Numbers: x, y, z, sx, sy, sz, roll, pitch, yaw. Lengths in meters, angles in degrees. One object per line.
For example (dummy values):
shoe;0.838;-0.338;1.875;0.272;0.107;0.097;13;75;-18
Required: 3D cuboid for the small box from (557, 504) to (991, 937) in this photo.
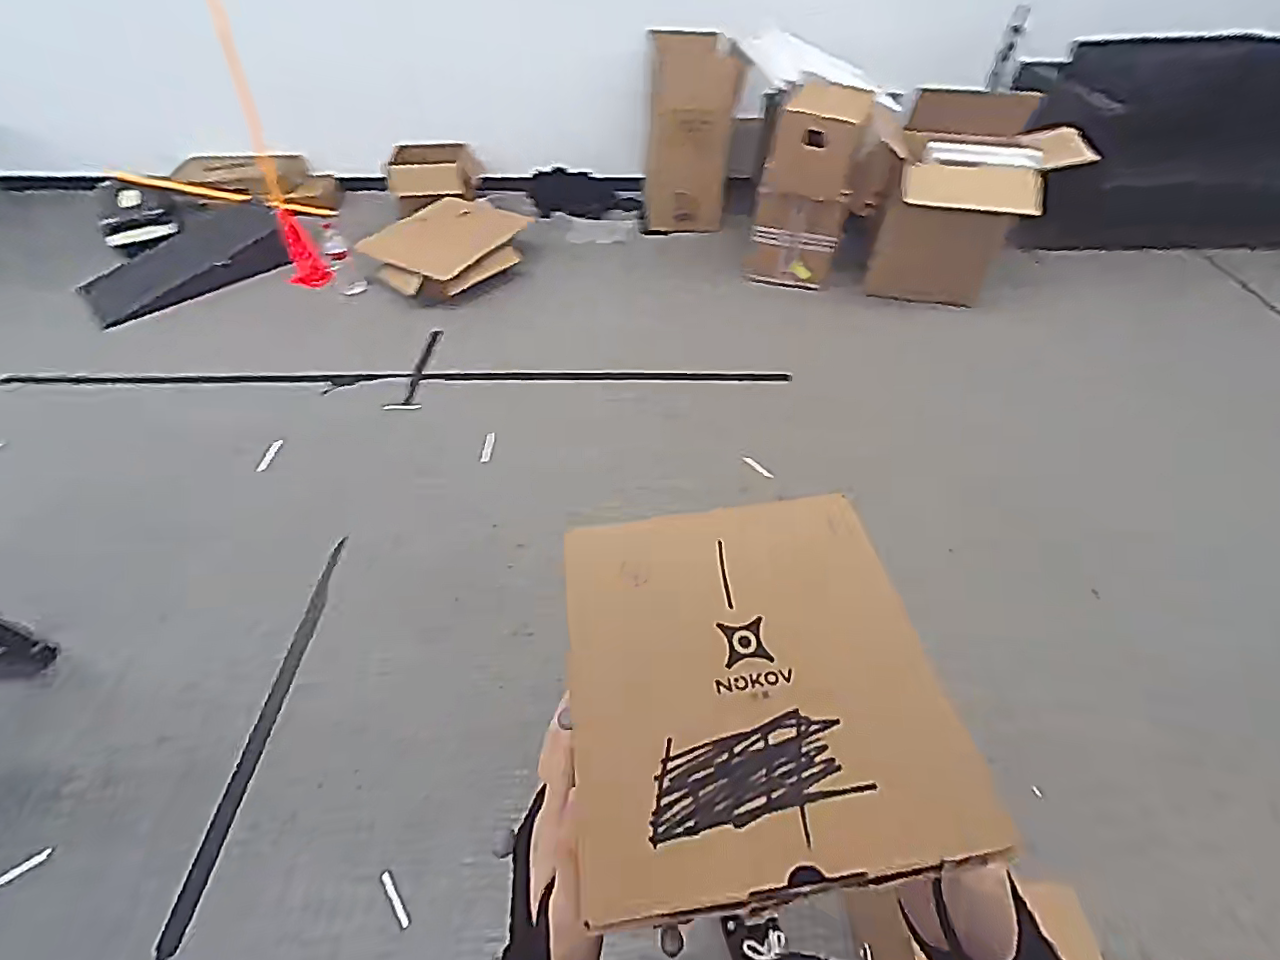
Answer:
small box;0.048;0.141;0.317;0.168;0.176;0.179;-8;49;-5
